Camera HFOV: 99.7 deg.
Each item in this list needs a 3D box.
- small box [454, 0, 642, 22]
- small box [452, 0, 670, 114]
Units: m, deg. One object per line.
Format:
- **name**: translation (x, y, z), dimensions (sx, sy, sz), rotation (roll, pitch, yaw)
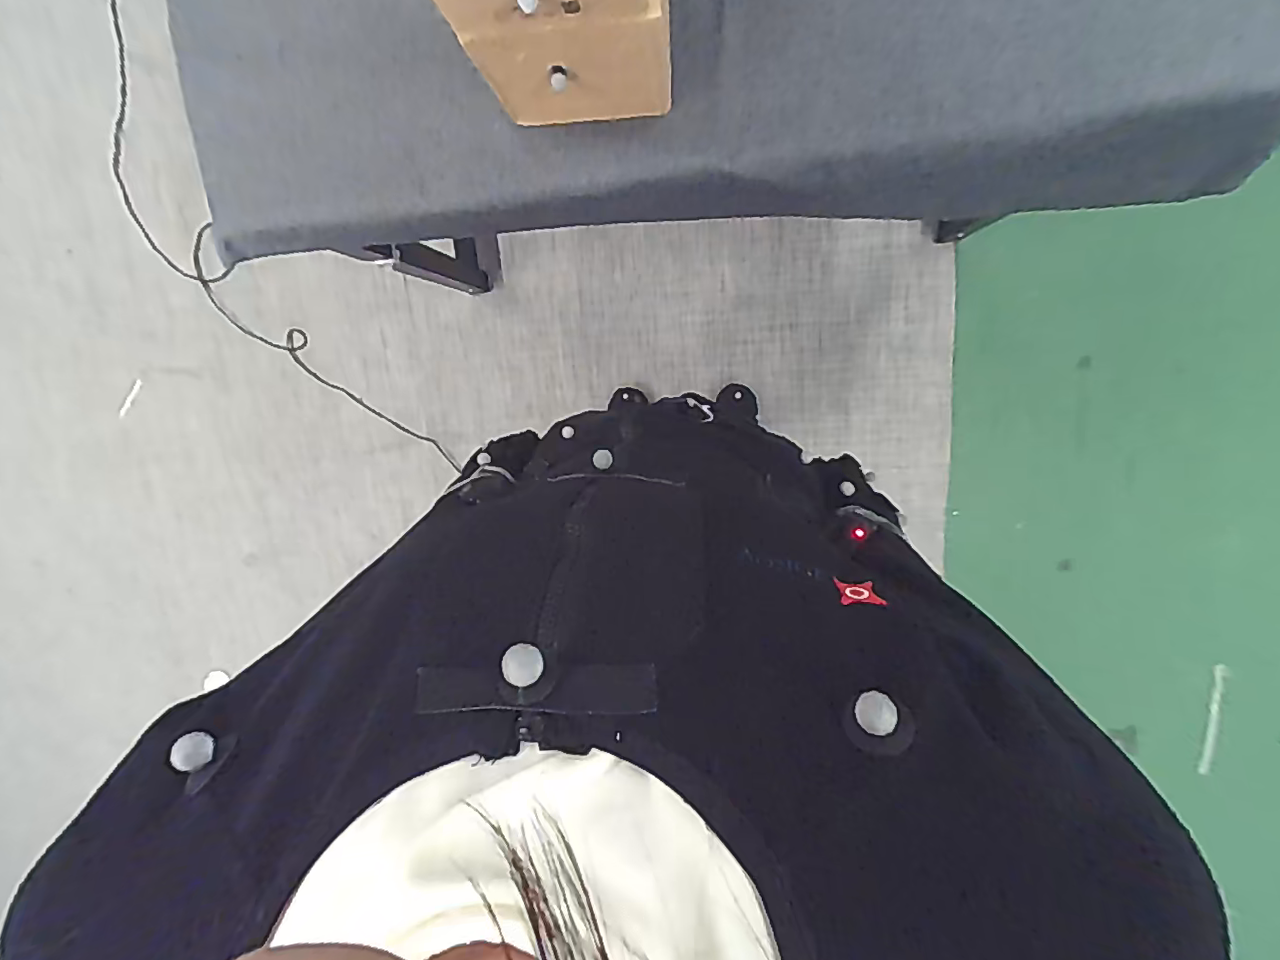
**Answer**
- **small box**: translation (-0.082, -0.450, 0.349), dimensions (0.168, 0.176, 0.179), rotation (0, 101, 6)
- **small box**: translation (-0.064, -0.475, 0.511), dimensions (0.179, 0.176, 0.168), rotation (0, 101, 6)
